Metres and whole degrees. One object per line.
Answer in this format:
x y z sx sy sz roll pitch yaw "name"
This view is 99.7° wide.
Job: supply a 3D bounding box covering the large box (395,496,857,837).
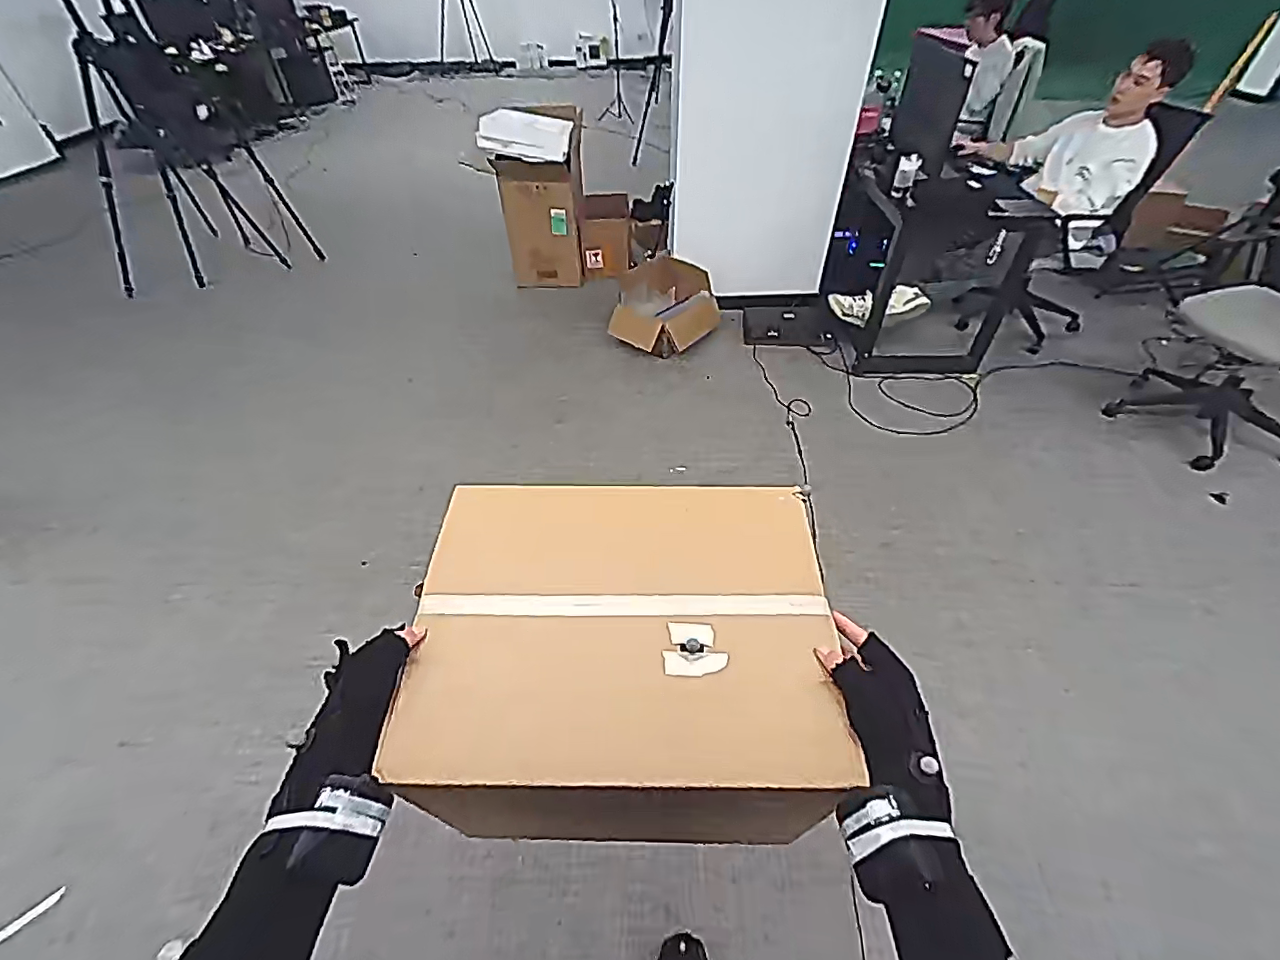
-0.014 0.233 0.665 0.408 0.320 0.320 1 50 0 "large box"
